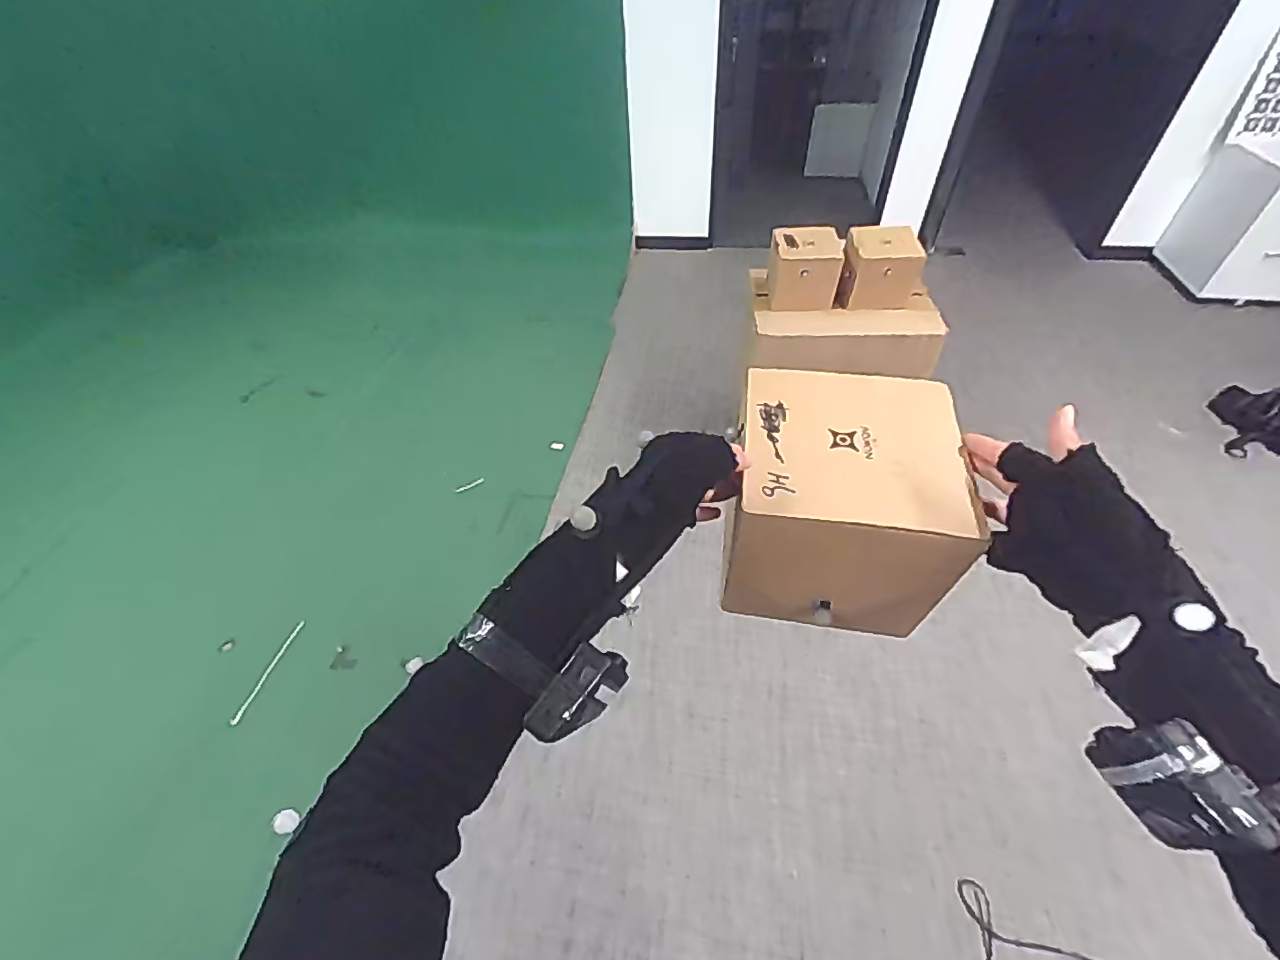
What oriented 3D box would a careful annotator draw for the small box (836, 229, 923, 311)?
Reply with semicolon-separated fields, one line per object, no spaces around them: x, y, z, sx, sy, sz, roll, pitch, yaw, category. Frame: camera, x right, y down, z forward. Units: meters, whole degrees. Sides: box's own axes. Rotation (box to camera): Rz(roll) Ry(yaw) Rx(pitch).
0.688;-0.611;1.580;0.179;0.176;0.168;0;53;1;small box

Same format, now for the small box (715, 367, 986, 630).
0.172;0.022;0.500;0.179;0.176;0.168;8;50;6;small box

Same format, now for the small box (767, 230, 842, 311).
0.474;-0.614;1.592;0.179;0.176;0.168;1;53;3;small box
